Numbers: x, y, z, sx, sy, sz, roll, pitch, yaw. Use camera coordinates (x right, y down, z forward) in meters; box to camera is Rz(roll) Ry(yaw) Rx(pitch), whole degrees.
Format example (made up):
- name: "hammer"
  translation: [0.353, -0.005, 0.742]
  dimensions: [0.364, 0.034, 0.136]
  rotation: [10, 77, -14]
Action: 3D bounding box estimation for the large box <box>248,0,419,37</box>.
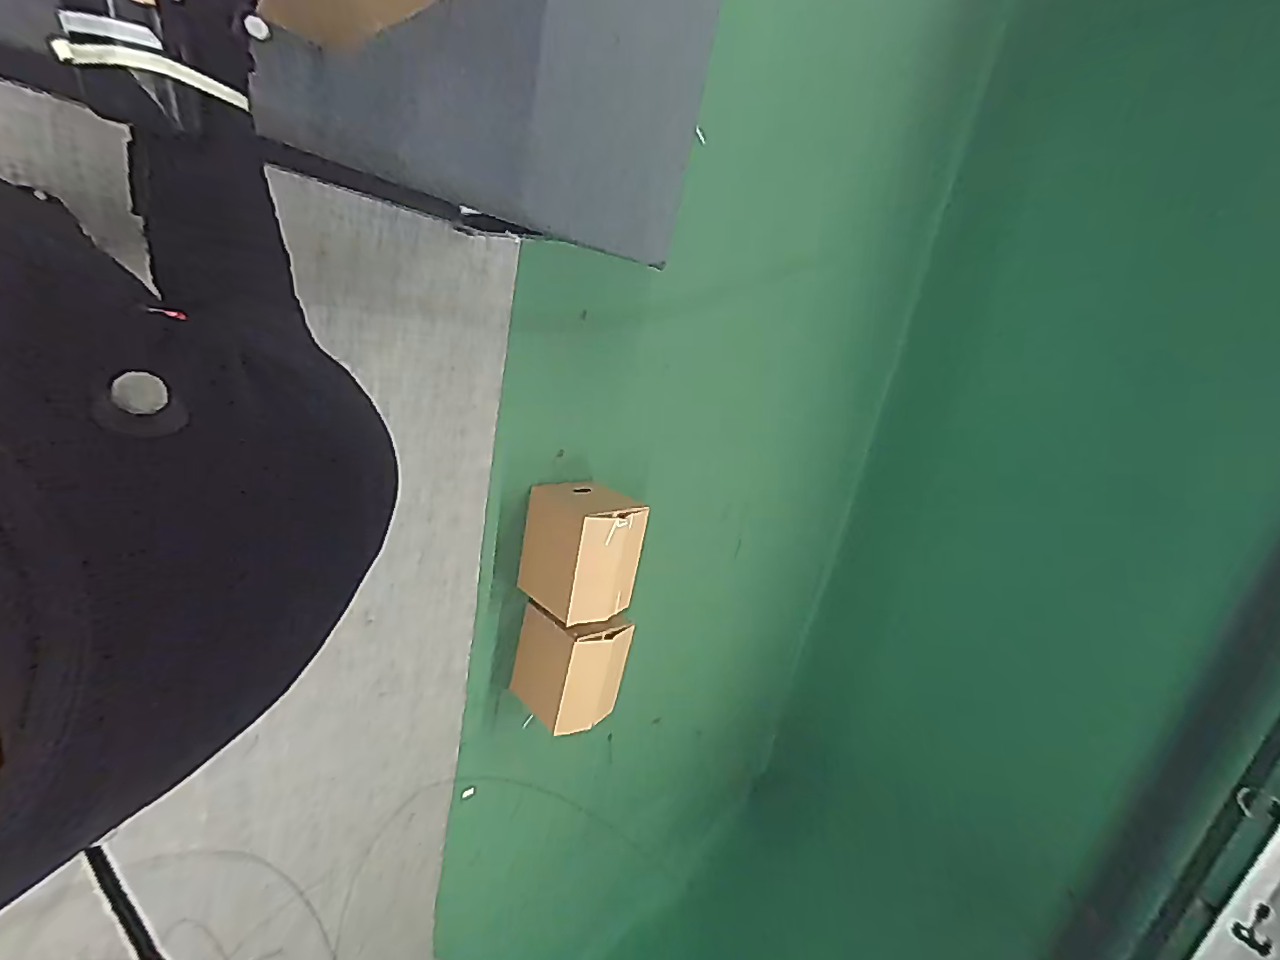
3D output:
- name: "large box"
  translation: [-0.296, -0.607, 0.337]
  dimensions: [0.320, 0.320, 0.408]
  rotation: [-5, 114, -46]
